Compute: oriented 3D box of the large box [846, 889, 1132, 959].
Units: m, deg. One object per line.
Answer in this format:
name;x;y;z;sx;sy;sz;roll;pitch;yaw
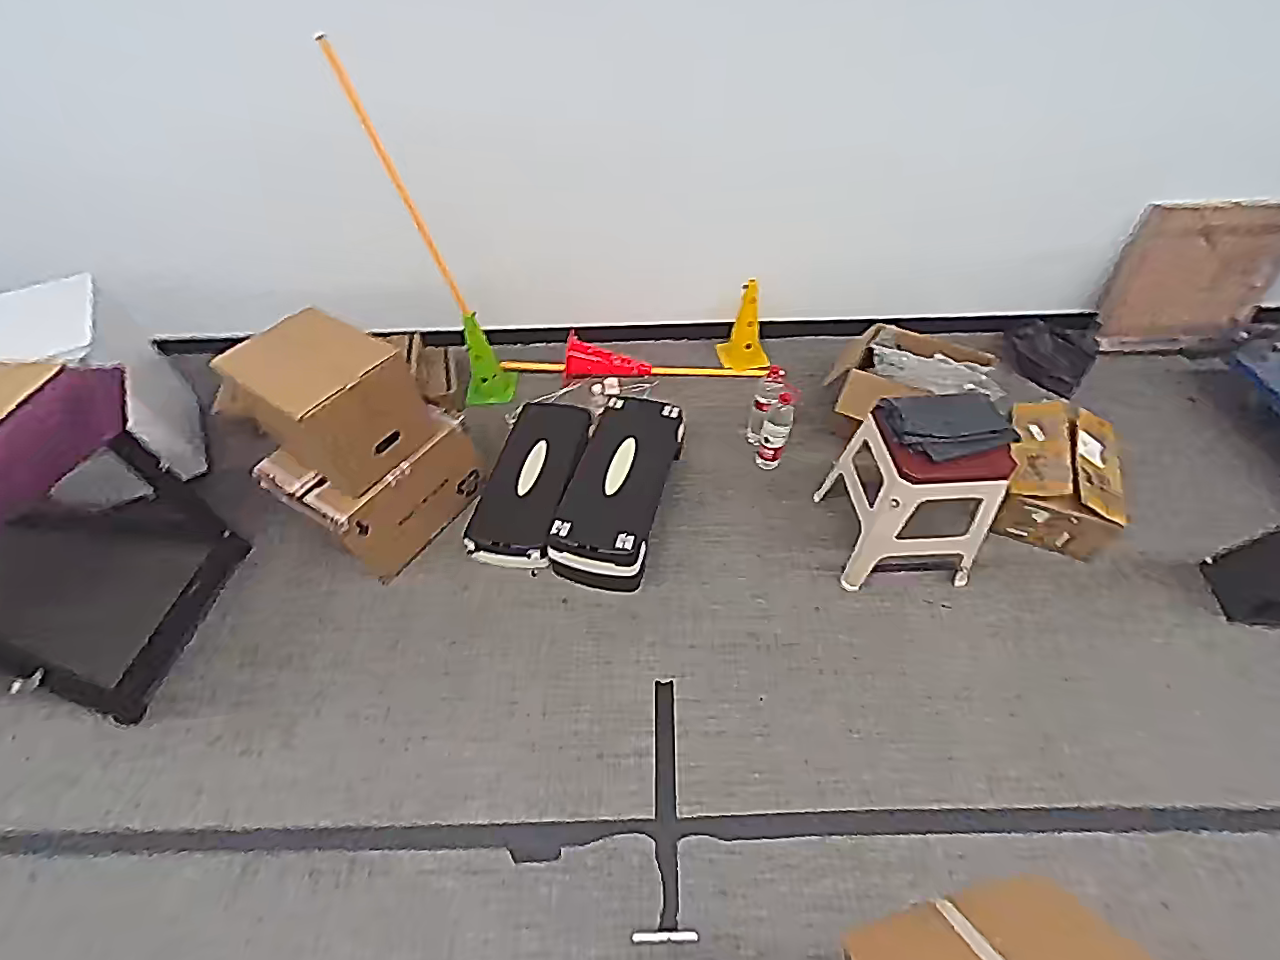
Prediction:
large box;0.481;0.748;0.565;0.320;0.408;0.320;-15;84;-4
